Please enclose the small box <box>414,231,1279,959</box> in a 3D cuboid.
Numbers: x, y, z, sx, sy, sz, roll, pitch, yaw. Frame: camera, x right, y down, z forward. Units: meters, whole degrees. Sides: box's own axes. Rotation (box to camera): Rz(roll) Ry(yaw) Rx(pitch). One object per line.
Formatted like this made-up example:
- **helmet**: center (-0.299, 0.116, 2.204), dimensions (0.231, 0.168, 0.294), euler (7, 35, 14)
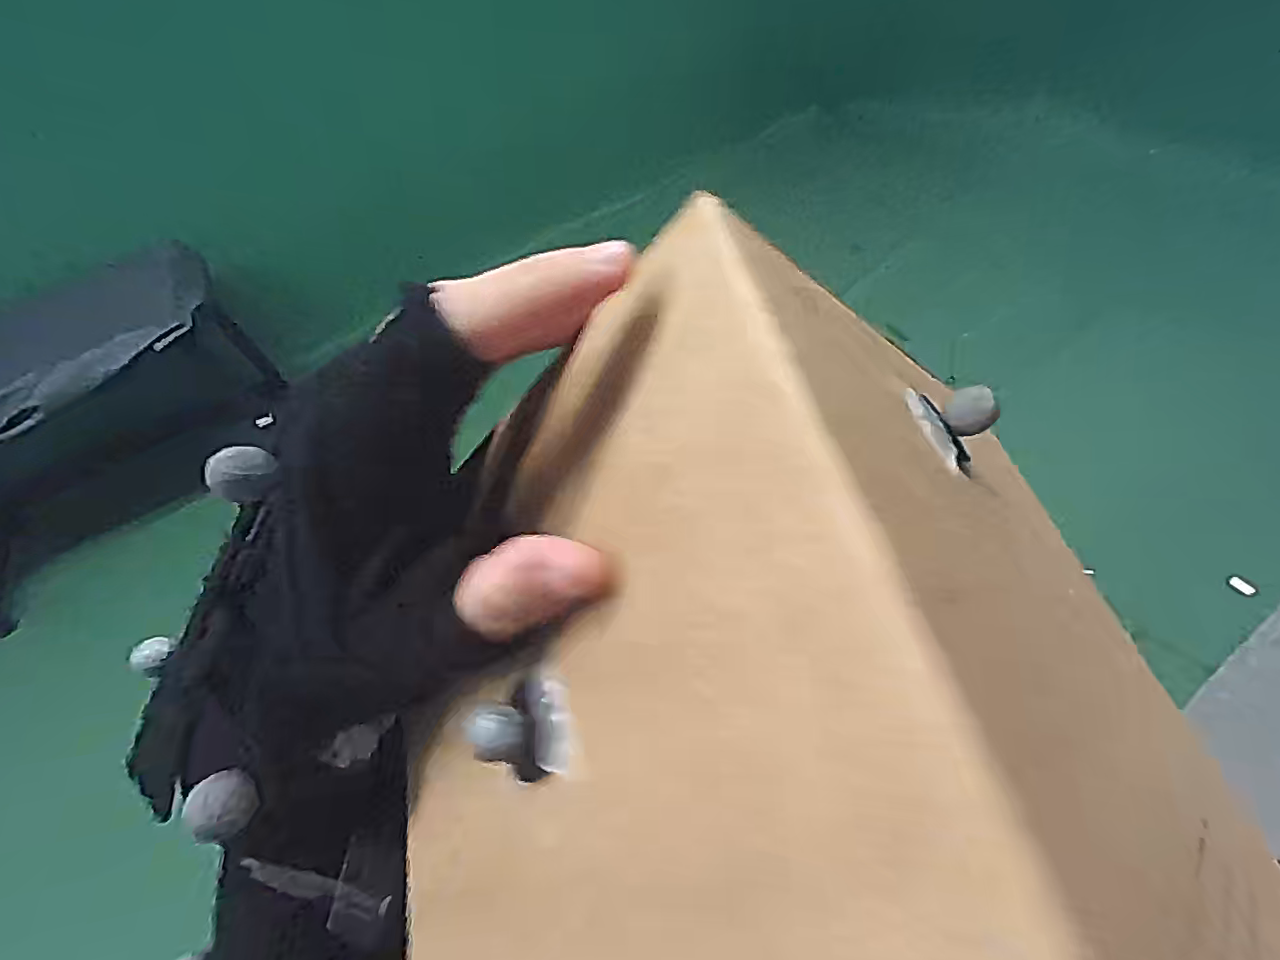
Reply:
- **small box**: center (0.048, 0.068, 0.181), dimensions (0.168, 0.179, 0.176), euler (-36, 57, 35)
